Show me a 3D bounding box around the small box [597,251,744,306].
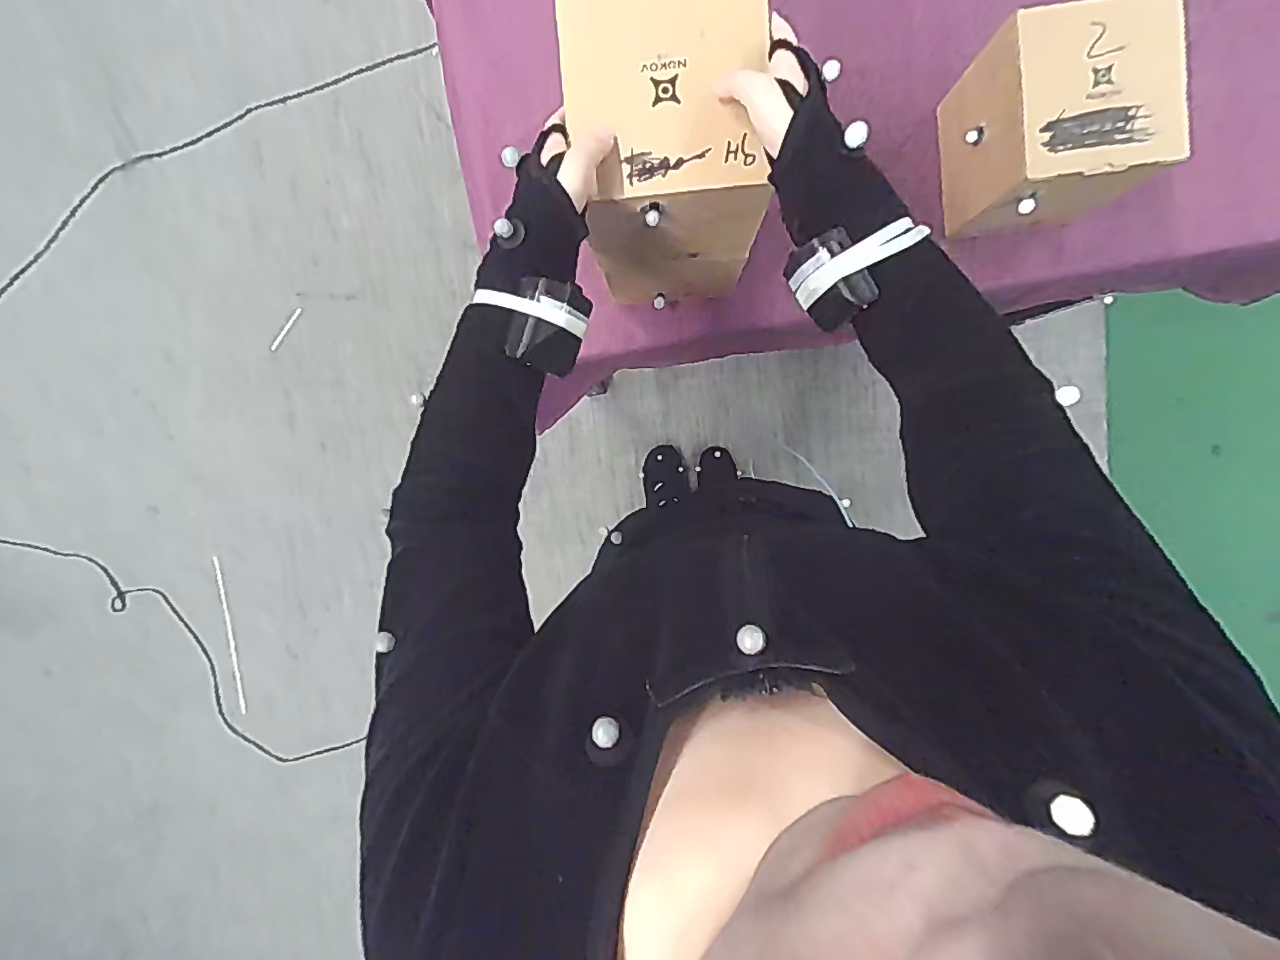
[{"bbox_3d":[0.033,-0.329,0.670,0.168,0.176,0.179,-4,94,4],"label":"small box"}]

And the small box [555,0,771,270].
[{"bbox_3d":[0.023,-0.318,0.506,0.168,0.176,0.179,-4,93,5],"label":"small box"}]
